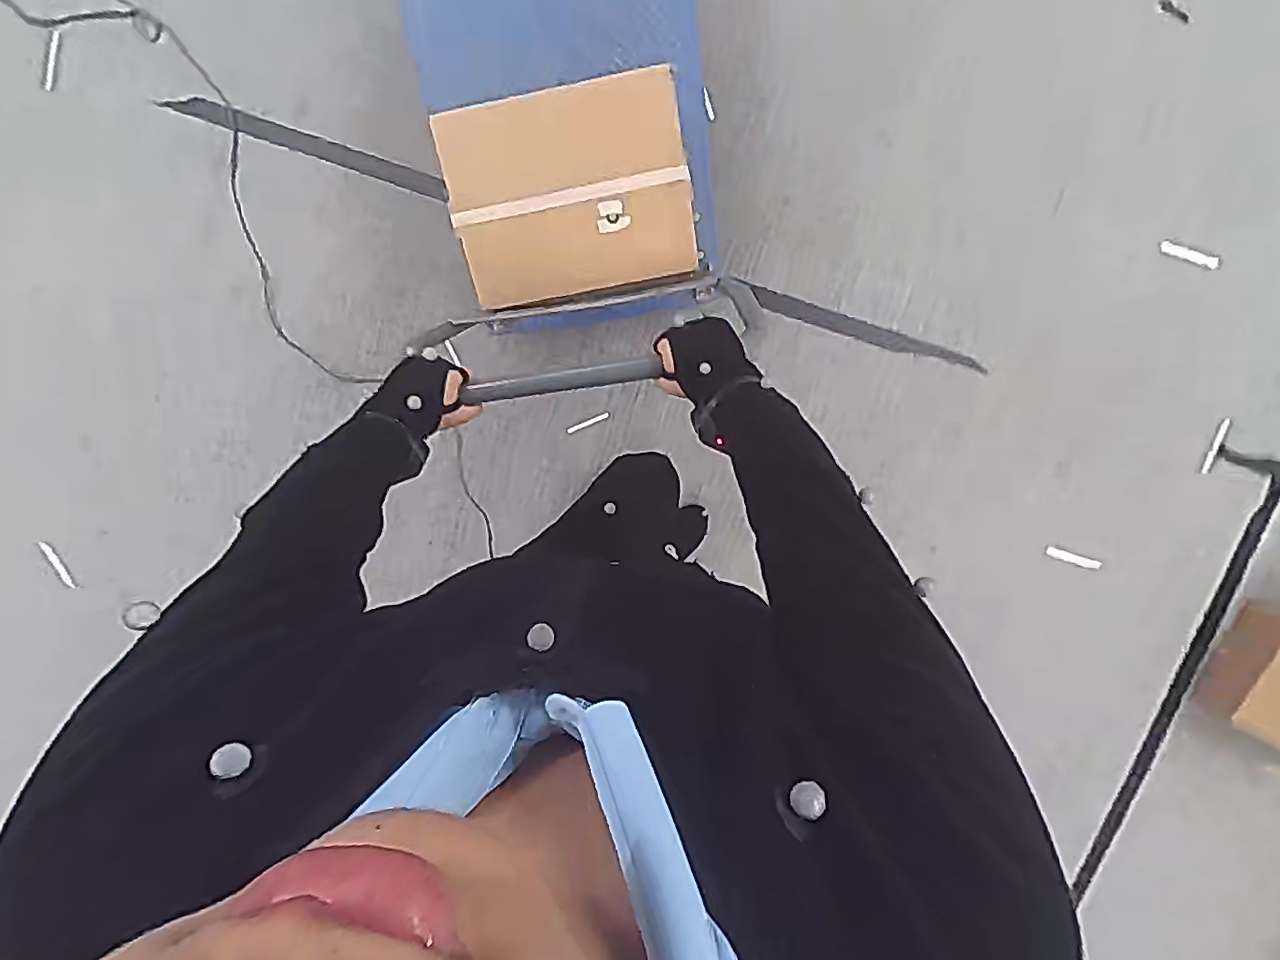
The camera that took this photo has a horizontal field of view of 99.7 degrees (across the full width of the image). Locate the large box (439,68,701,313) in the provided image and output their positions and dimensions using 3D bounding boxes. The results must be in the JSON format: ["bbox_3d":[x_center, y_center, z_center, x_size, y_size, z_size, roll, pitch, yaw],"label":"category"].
[{"bbox_3d":[-0.116,-0.540,1.076,0.408,0.320,0.320,-11,112,3],"label":"large box"}]
